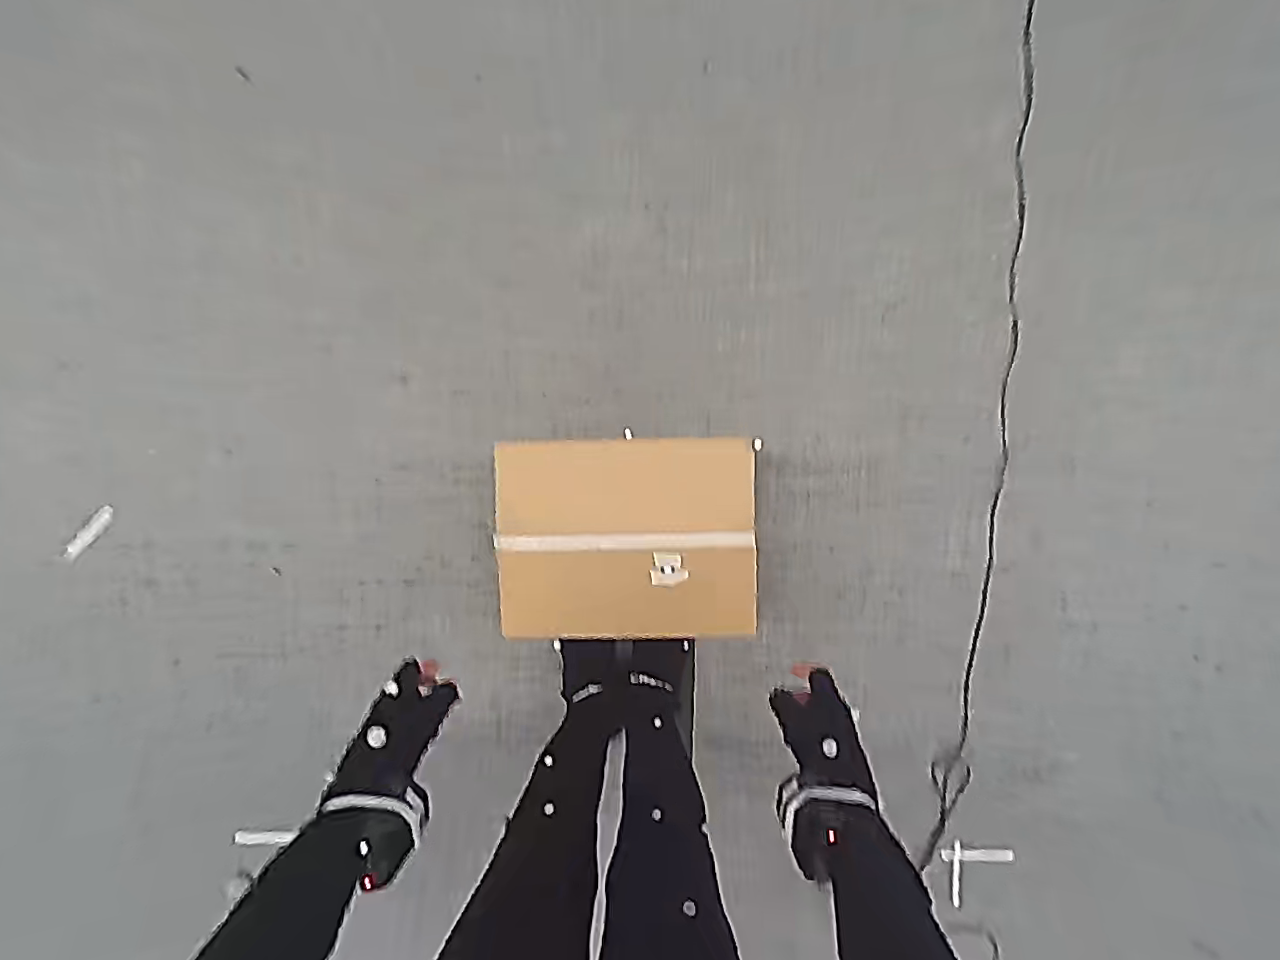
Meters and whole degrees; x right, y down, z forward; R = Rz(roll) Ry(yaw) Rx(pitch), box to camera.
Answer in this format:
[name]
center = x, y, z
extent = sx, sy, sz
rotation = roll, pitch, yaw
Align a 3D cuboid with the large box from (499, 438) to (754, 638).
[large box]
center = -0.020, 0.088, 1.007
extent = 0.408, 0.320, 0.320
rotation = -1, 94, 1
